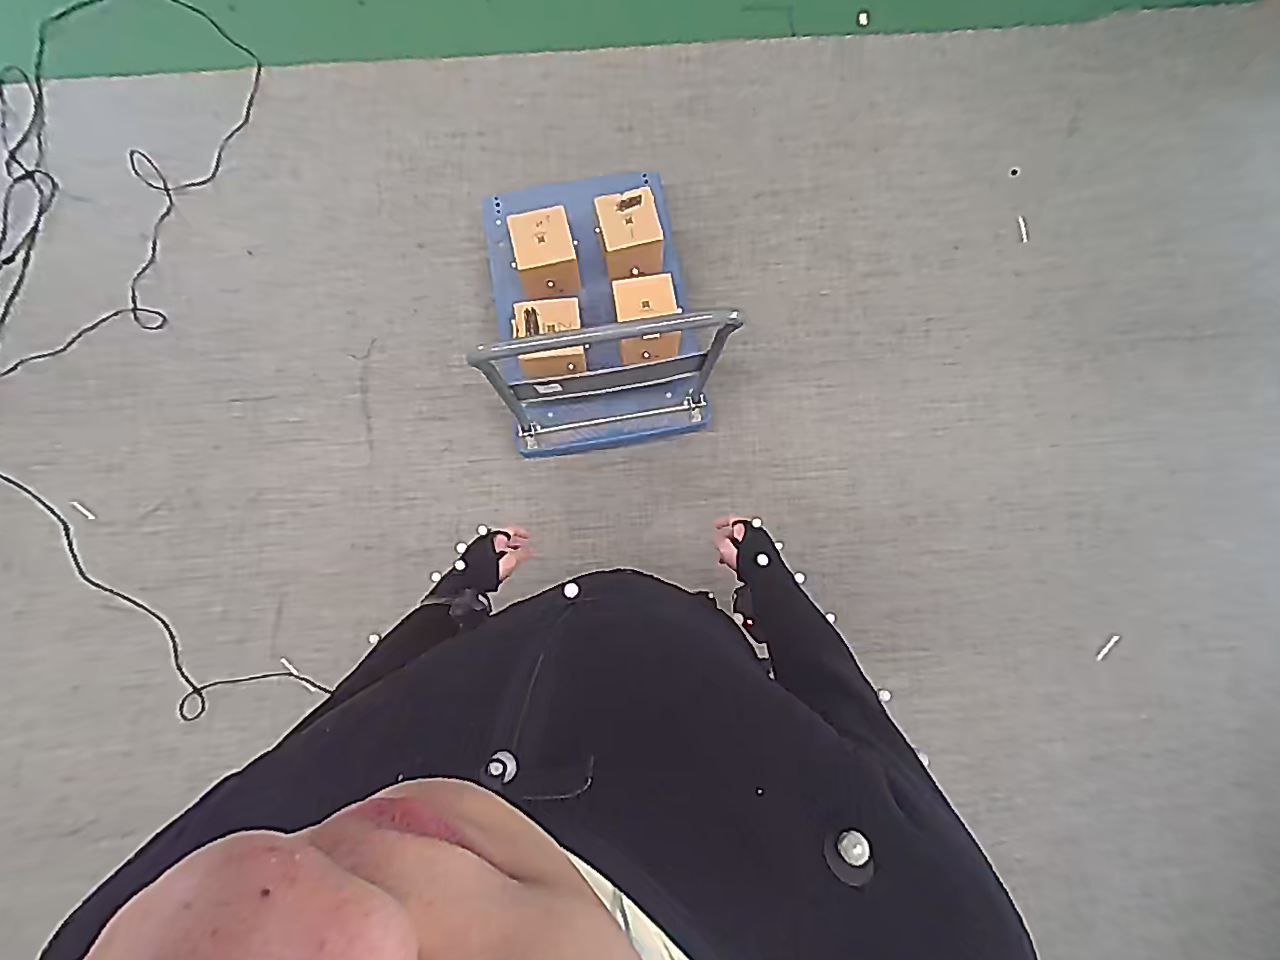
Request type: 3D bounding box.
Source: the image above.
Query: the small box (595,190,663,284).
[{"bbox_3d":[-0.034,-0.710,1.593,0.168,0.176,0.179,-13,80,-2],"label":"small box"}]

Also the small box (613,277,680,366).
[{"bbox_3d":[0.014,-0.448,1.543,0.168,0.176,0.179,-9,79,-3],"label":"small box"}]

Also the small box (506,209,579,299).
[{"bbox_3d":[-0.278,-0.649,1.580,0.168,0.176,0.179,-13,79,-4],"label":"small box"}]
